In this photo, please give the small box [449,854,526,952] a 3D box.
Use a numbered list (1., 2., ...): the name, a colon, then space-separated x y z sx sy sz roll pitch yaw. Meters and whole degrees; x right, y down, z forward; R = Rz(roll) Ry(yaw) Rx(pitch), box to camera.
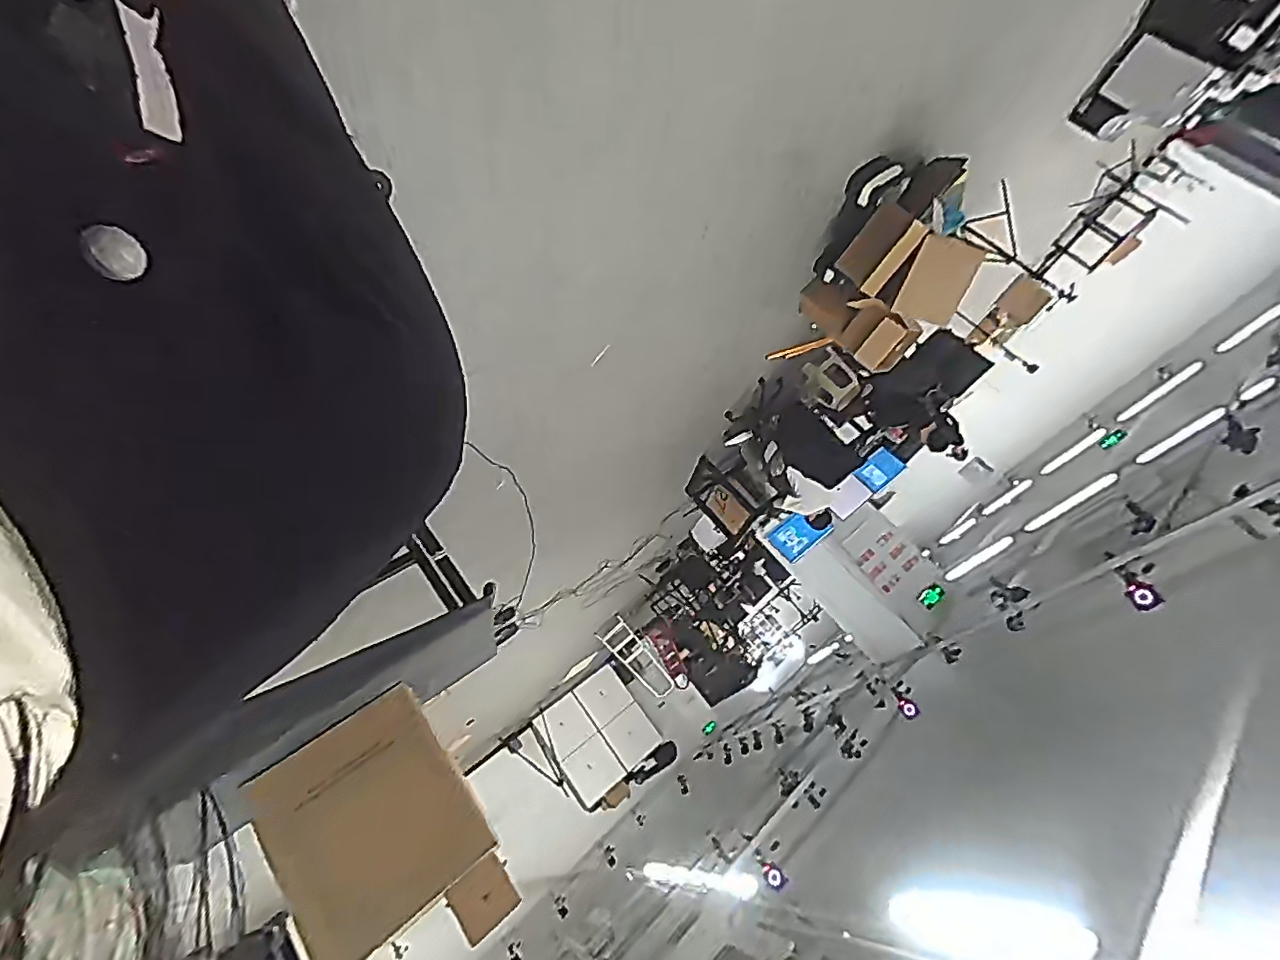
1. small box: -0.479 1.315 1.693 0.179 0.176 0.168 -32 156 -25
